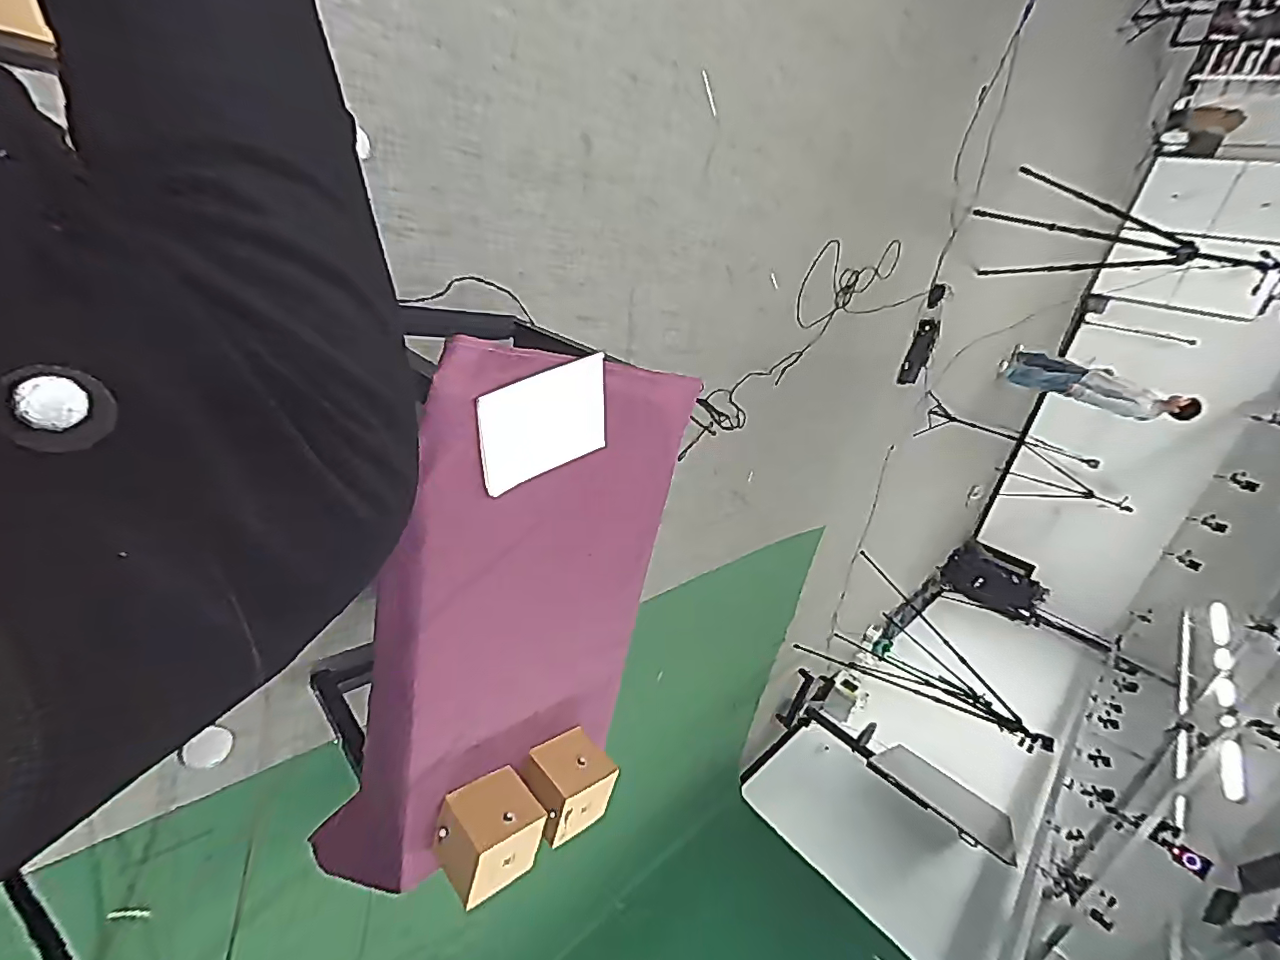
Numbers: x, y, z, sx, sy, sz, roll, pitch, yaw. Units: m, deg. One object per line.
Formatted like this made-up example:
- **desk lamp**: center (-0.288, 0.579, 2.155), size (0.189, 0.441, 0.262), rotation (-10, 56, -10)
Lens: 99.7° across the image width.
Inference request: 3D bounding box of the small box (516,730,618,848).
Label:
- **small box**: center (-0.191, 0.786, 1.400), size (0.179, 0.176, 0.168), rotation (-4, 116, -48)
